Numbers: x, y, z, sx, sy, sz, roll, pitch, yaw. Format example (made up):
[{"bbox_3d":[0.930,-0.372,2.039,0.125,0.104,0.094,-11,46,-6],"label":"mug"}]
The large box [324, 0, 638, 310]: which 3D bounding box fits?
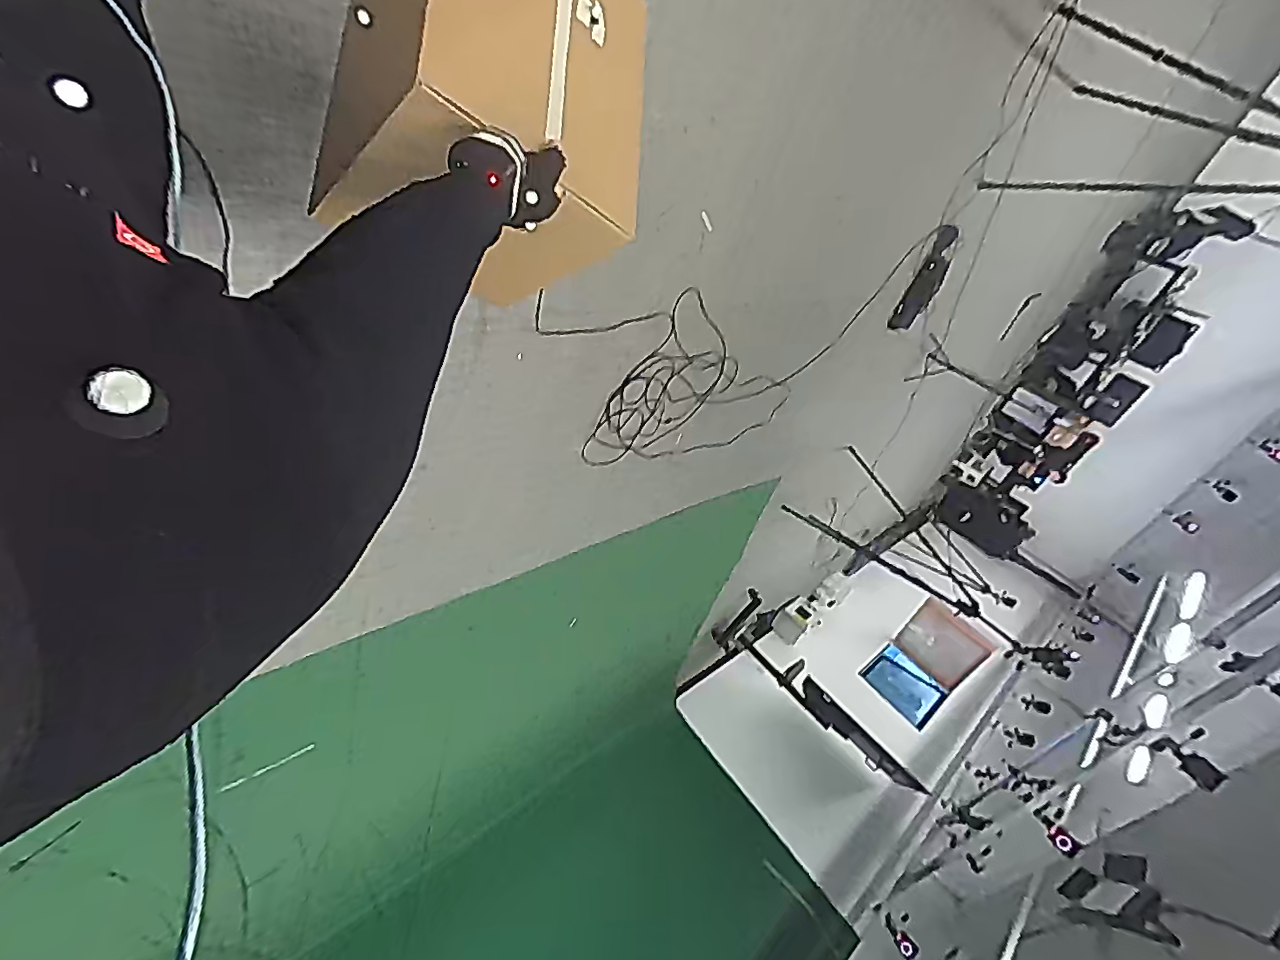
[{"bbox_3d":[-0.219,-0.527,0.780,0.320,0.320,0.408,15,72,-46],"label":"large box"}]
